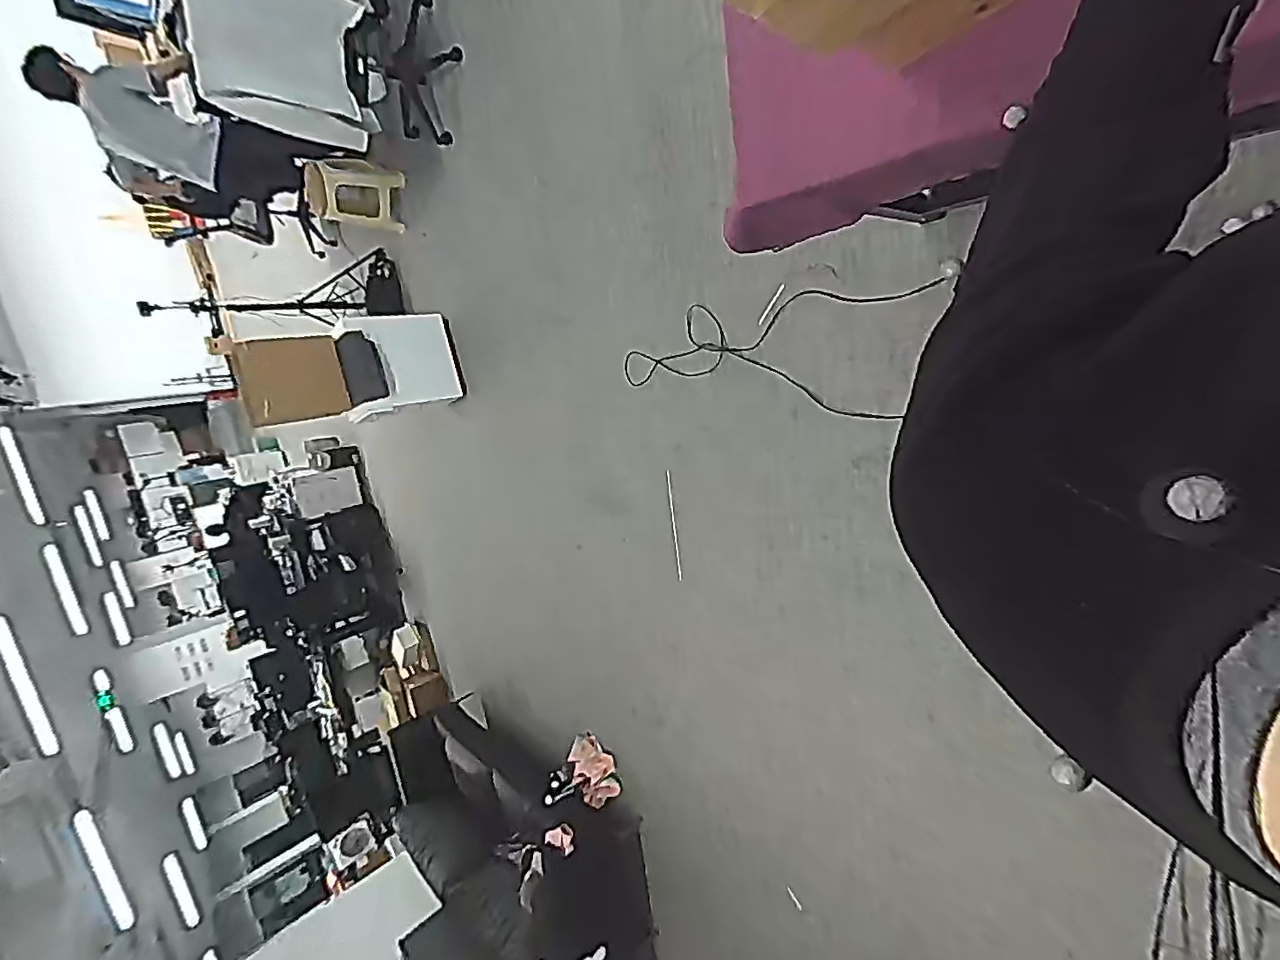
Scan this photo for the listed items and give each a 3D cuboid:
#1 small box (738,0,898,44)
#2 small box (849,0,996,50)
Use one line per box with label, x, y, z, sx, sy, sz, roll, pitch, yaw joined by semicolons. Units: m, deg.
small box;0.185;-0.527;0.460;0.179;0.176;0.168;-2;102;48
small box;0.301;-0.591;0.559;0.168;0.176;0.179;-2;102;47
